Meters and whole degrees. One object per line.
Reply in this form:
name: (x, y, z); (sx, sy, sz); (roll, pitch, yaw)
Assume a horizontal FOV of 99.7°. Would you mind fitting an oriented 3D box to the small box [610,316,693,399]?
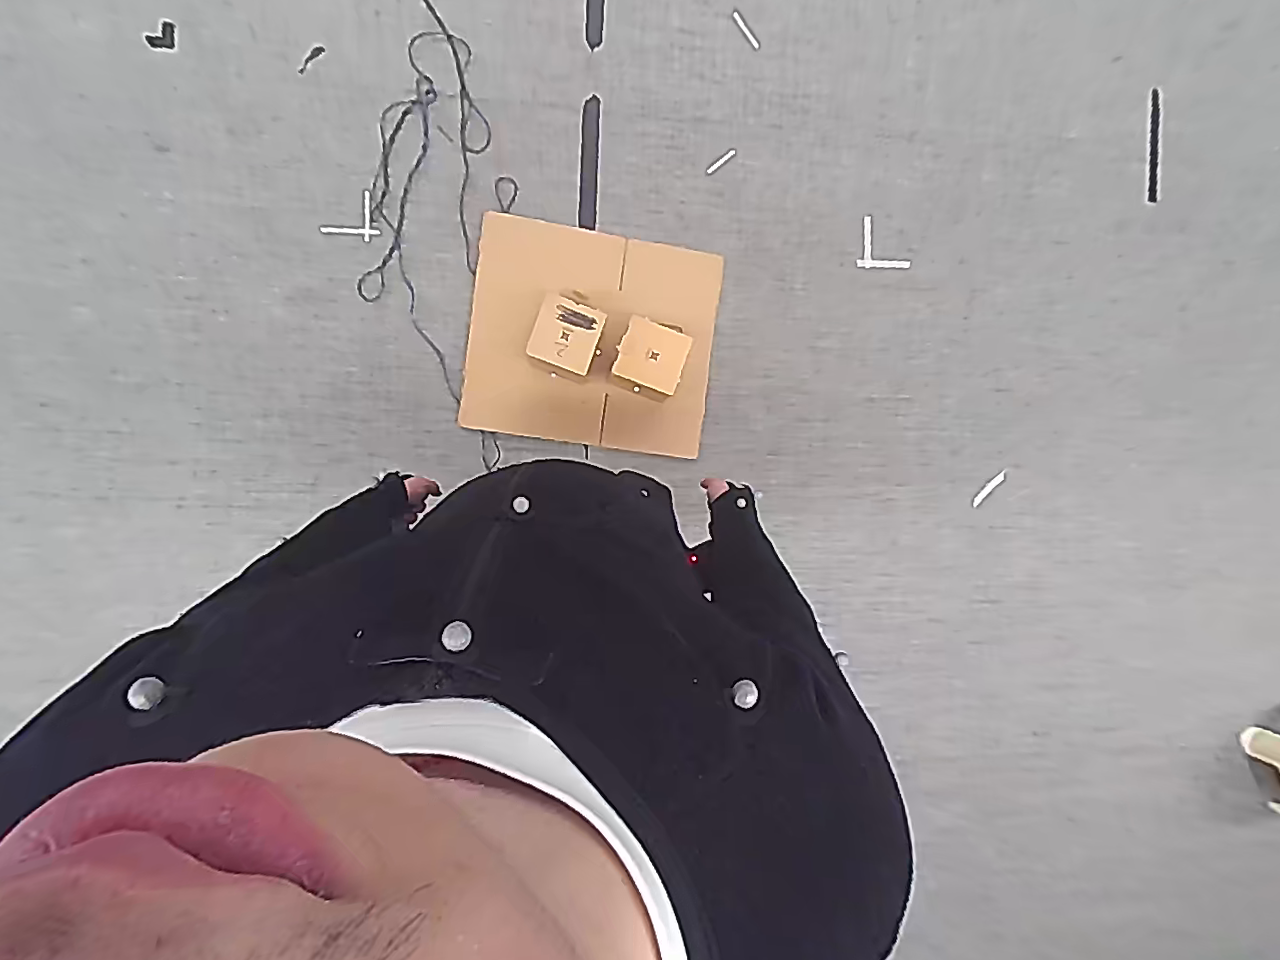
small box: (0.025, -0.333, 1.511); (0.179, 0.176, 0.168); (20, 89, -7)
